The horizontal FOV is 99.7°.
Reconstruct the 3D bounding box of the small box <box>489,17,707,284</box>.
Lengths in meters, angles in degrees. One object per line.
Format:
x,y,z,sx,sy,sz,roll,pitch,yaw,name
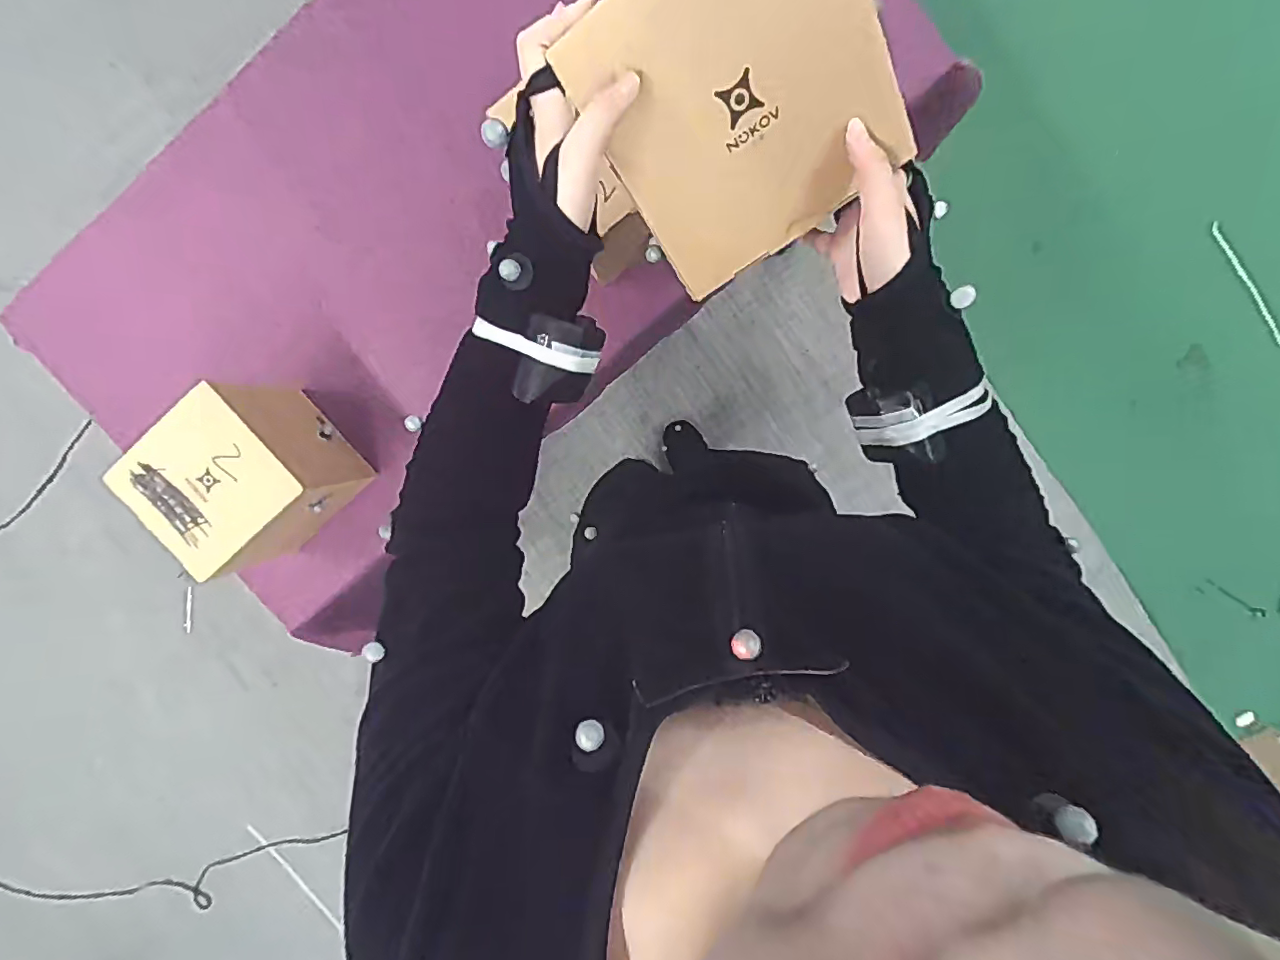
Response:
-0.042,-0.364,0.639,0.168,0.176,0.179,-36,94,6,small box
